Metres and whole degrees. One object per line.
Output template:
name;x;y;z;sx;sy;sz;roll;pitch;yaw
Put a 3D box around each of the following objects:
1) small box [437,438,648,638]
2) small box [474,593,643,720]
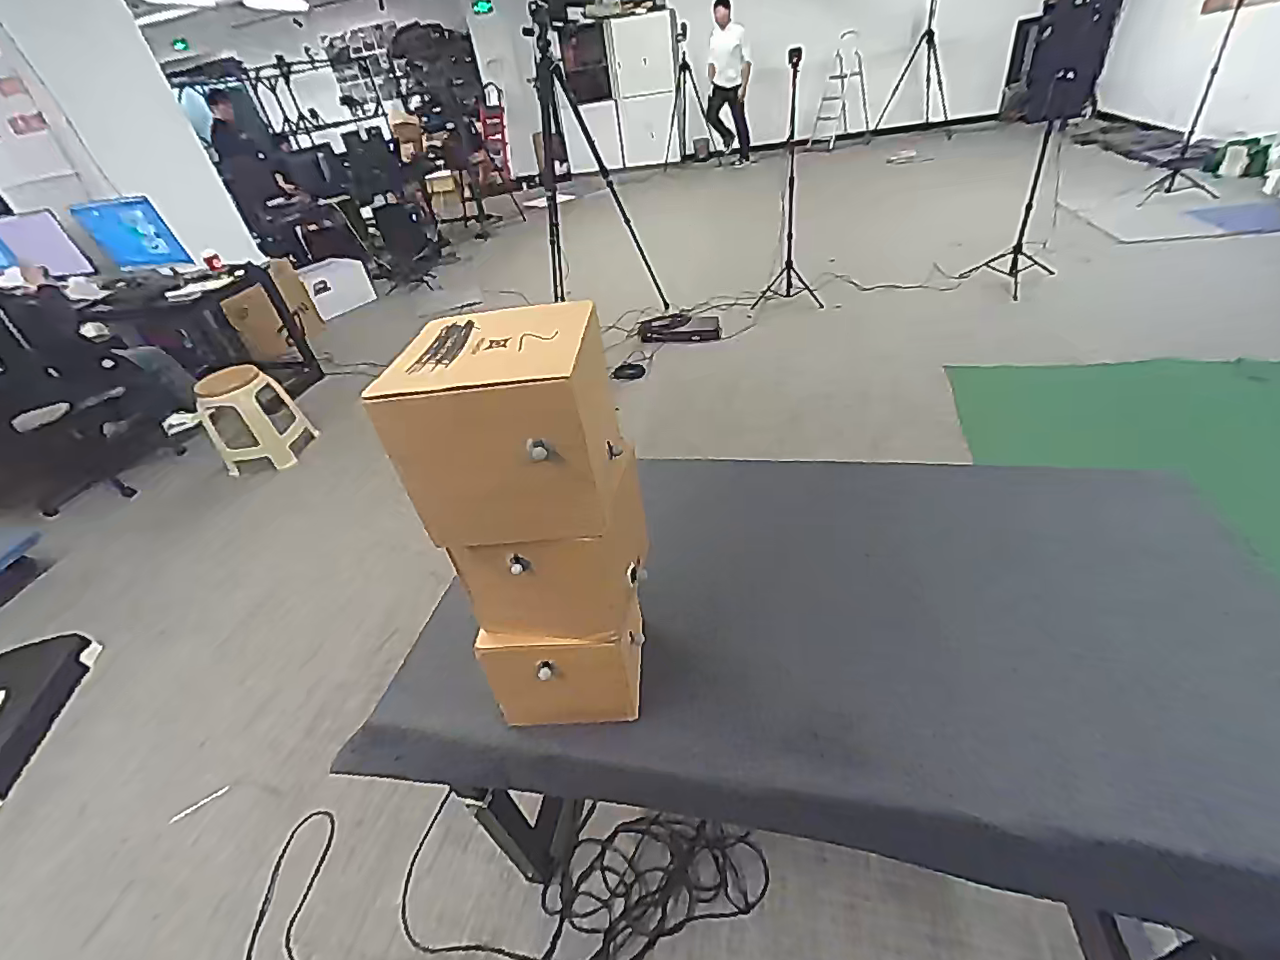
small box;-0.097;0.065;0.633;0.179;0.176;0.168;2;39;13
small box;-0.092;0.202;0.722;0.179;0.176;0.168;-5;37;7
